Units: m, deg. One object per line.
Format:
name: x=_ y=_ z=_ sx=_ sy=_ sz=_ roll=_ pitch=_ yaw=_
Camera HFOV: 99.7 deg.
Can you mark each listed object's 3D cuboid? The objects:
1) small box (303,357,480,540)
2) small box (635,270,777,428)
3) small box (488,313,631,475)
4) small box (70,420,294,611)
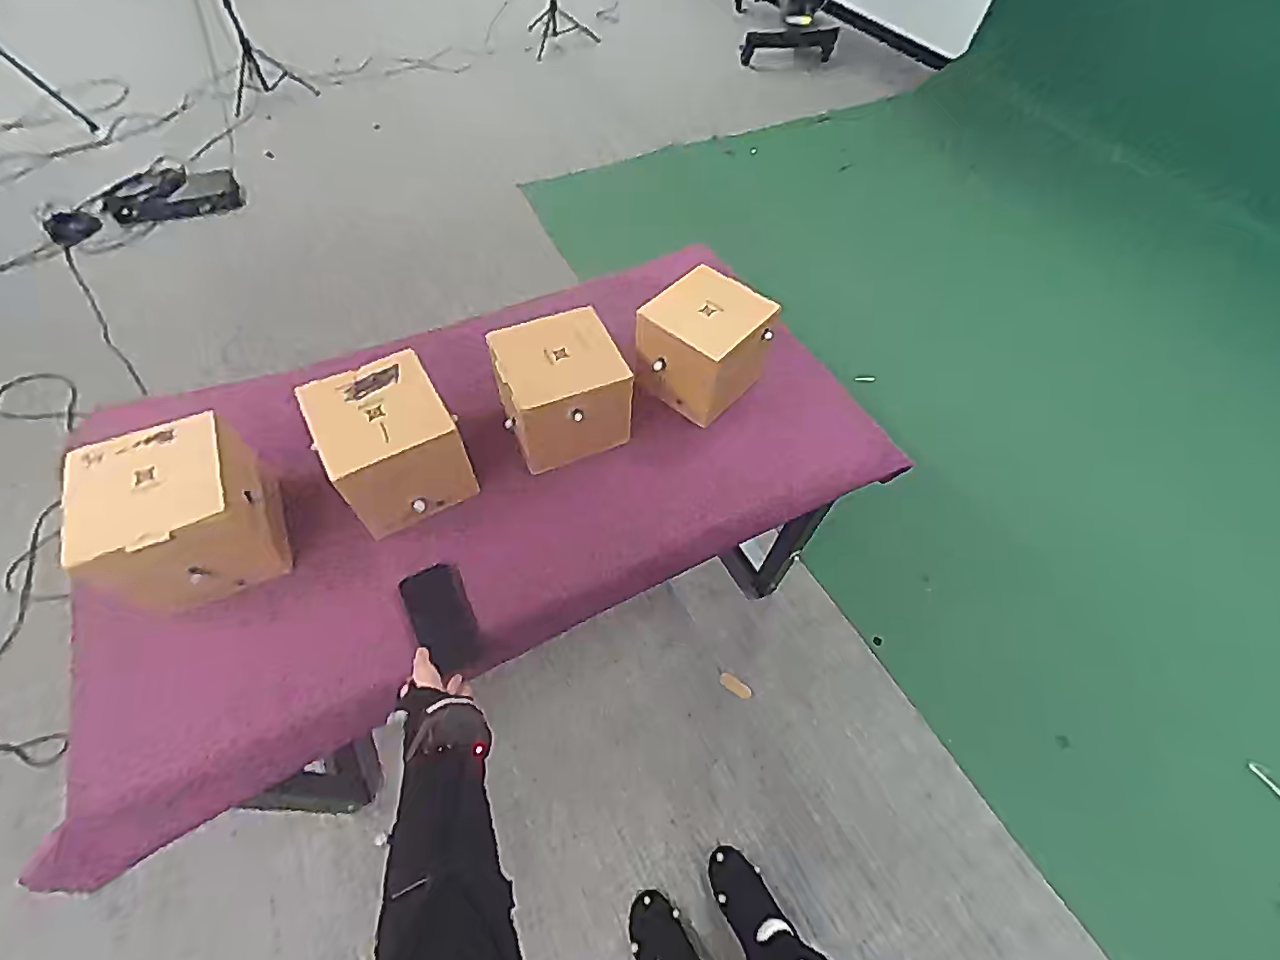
small box: x=-0.358 y=-0.044 z=0.800 sx=0.168 sy=0.176 sz=0.179 roll=-27 pitch=62 yaw=-18
small box: x=0.109 y=-0.222 z=0.938 sx=0.168 sy=0.176 sz=0.179 roll=36 pitch=62 yaw=21
small box: x=-0.124 y=-0.133 z=0.869 sx=0.179 sy=0.176 sz=0.168 roll=-20 pitch=60 yaw=-15
small box: x=-0.595 y=0.056 z=0.723 sx=0.168 sy=0.176 sz=0.179 roll=-22 pitch=61 yaw=-16
